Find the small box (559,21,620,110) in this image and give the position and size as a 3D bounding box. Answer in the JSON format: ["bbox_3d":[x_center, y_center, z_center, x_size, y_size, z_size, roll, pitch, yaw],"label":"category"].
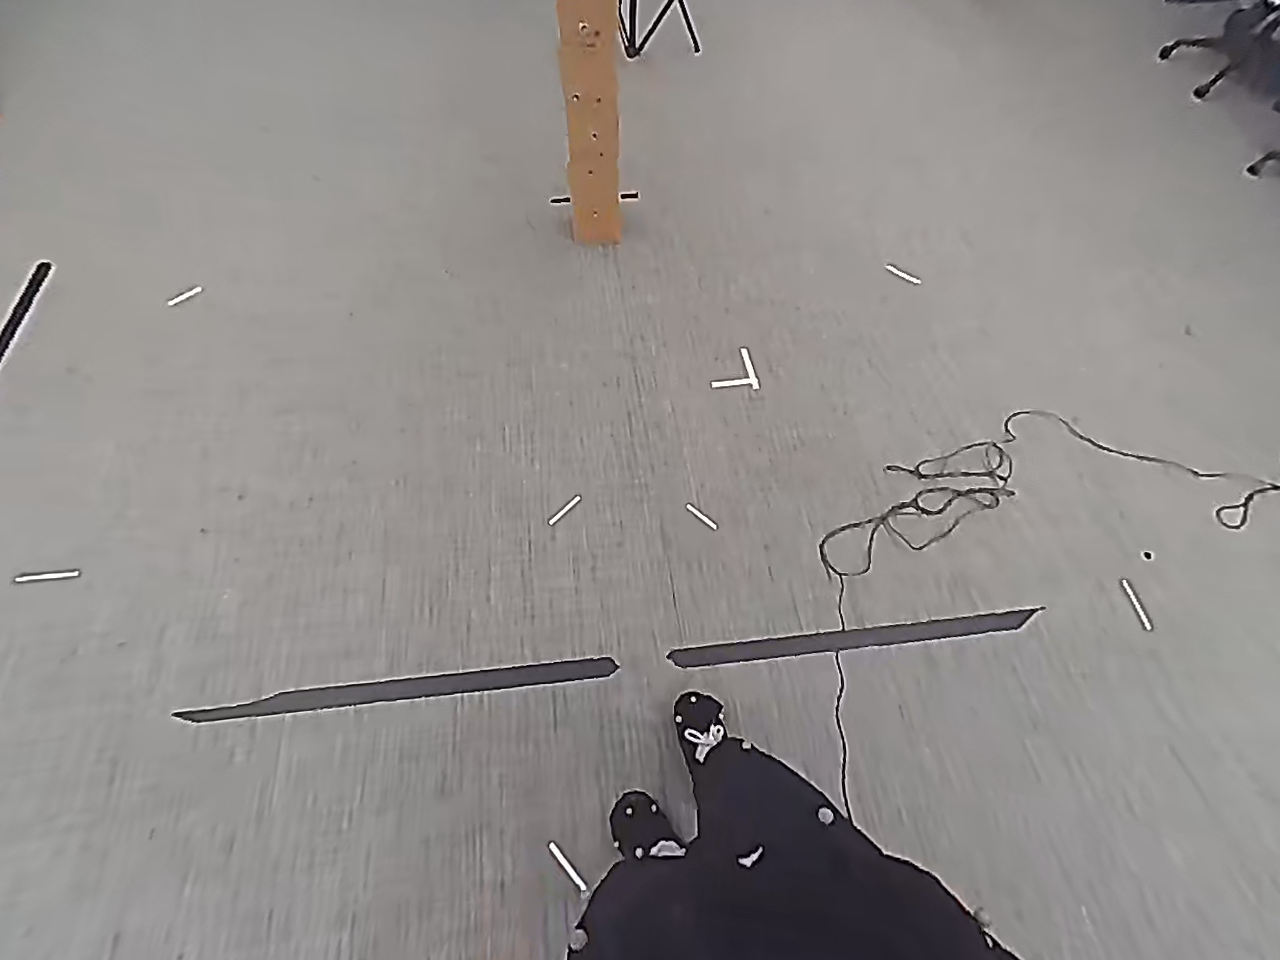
[{"bbox_3d":[-0.149,-1.243,1.623,0.168,0.176,0.179,-5,62,-4],"label":"small box"}]

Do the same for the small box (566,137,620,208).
[{"bbox_3d":[-0.163,-1.086,1.910,0.179,0.176,0.168,-4,64,-3],"label":"small box"}]

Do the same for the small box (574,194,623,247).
[{"bbox_3d":[-0.161,-1.014,2.058,0.179,0.176,0.168,-6,63,-5],"label":"small box"}]

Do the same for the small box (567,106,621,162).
[{"bbox_3d":[-0.150,-1.165,1.768,0.168,0.176,0.179,-4,64,-4],"label":"small box"}]

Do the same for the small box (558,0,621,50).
[{"bbox_3d":[-0.142,-1.318,1.480,0.168,0.176,0.179,-7,64,-4],"label":"small box"}]
